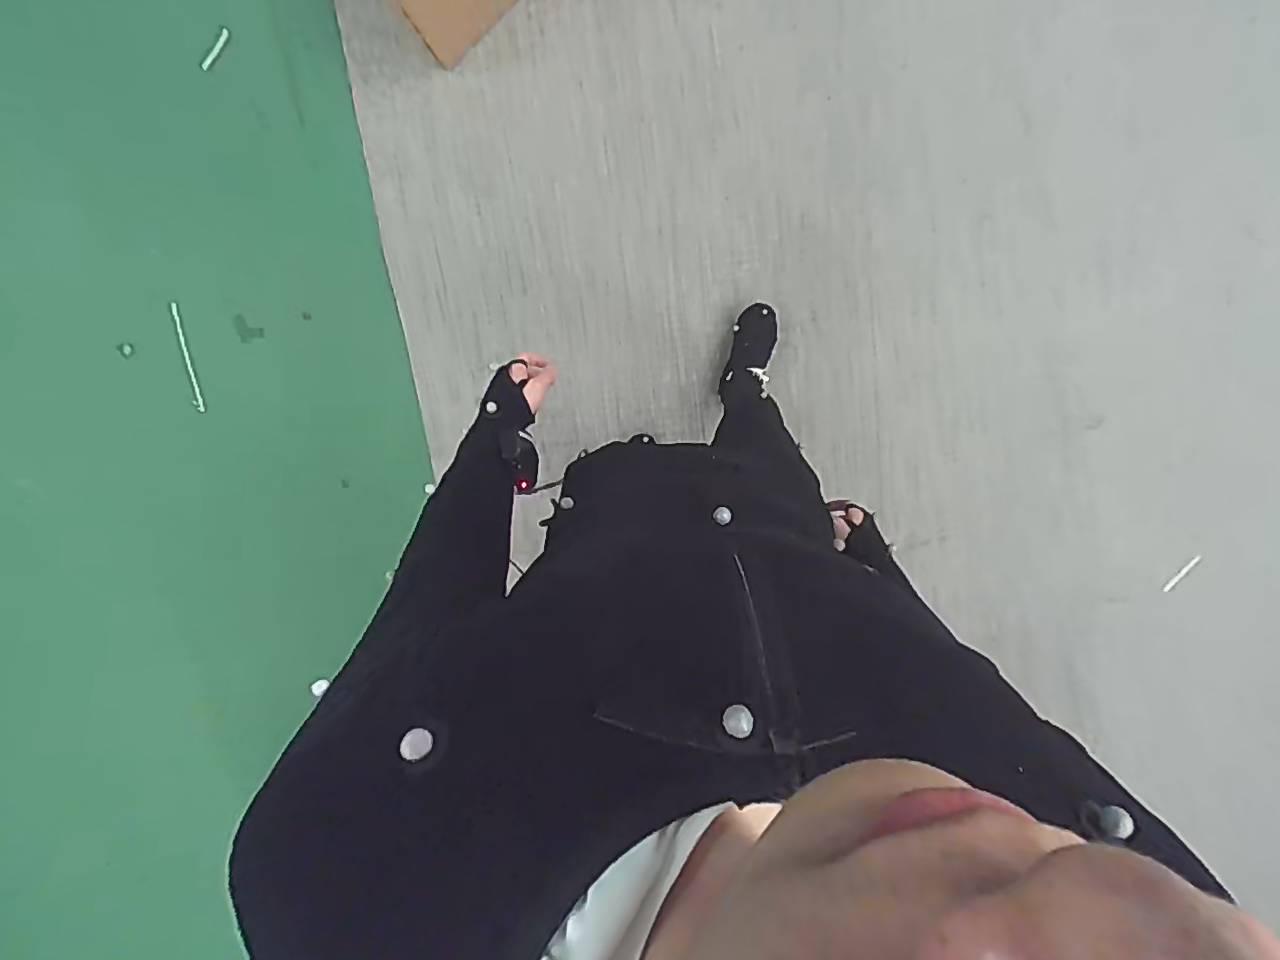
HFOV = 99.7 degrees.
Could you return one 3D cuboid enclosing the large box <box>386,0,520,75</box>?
[{"bbox_3d":[-0.456,-1.273,1.234,0.408,0.320,0.320,-40,96,9],"label":"large box"}]
